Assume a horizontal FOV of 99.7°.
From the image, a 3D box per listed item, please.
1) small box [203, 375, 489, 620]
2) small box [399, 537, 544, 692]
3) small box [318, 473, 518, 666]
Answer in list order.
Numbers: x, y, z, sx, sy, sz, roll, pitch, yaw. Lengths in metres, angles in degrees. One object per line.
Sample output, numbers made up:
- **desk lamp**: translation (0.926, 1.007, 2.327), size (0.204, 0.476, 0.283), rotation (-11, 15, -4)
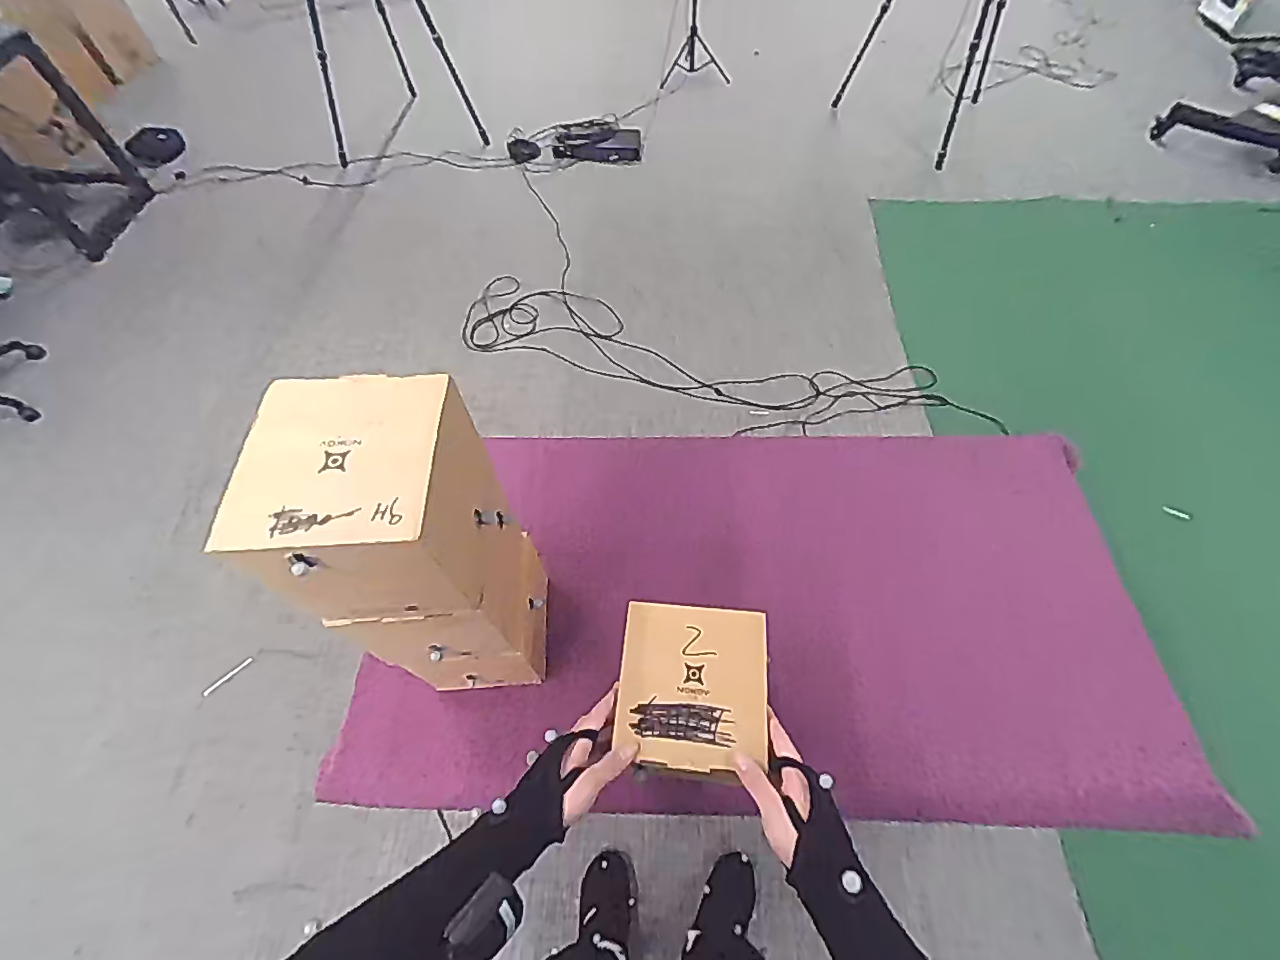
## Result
- **small box**: translation (-0.252, 0.021, 0.522), size (0.168, 0.176, 0.179), rotation (-3, 56, 0)
- **small box**: translation (-0.239, 0.201, 0.797), size (0.168, 0.176, 0.179), rotation (-4, 58, -1)
- **small box**: translation (-0.249, 0.113, 0.659), size (0.168, 0.176, 0.179), rotation (-5, 57, -1)
